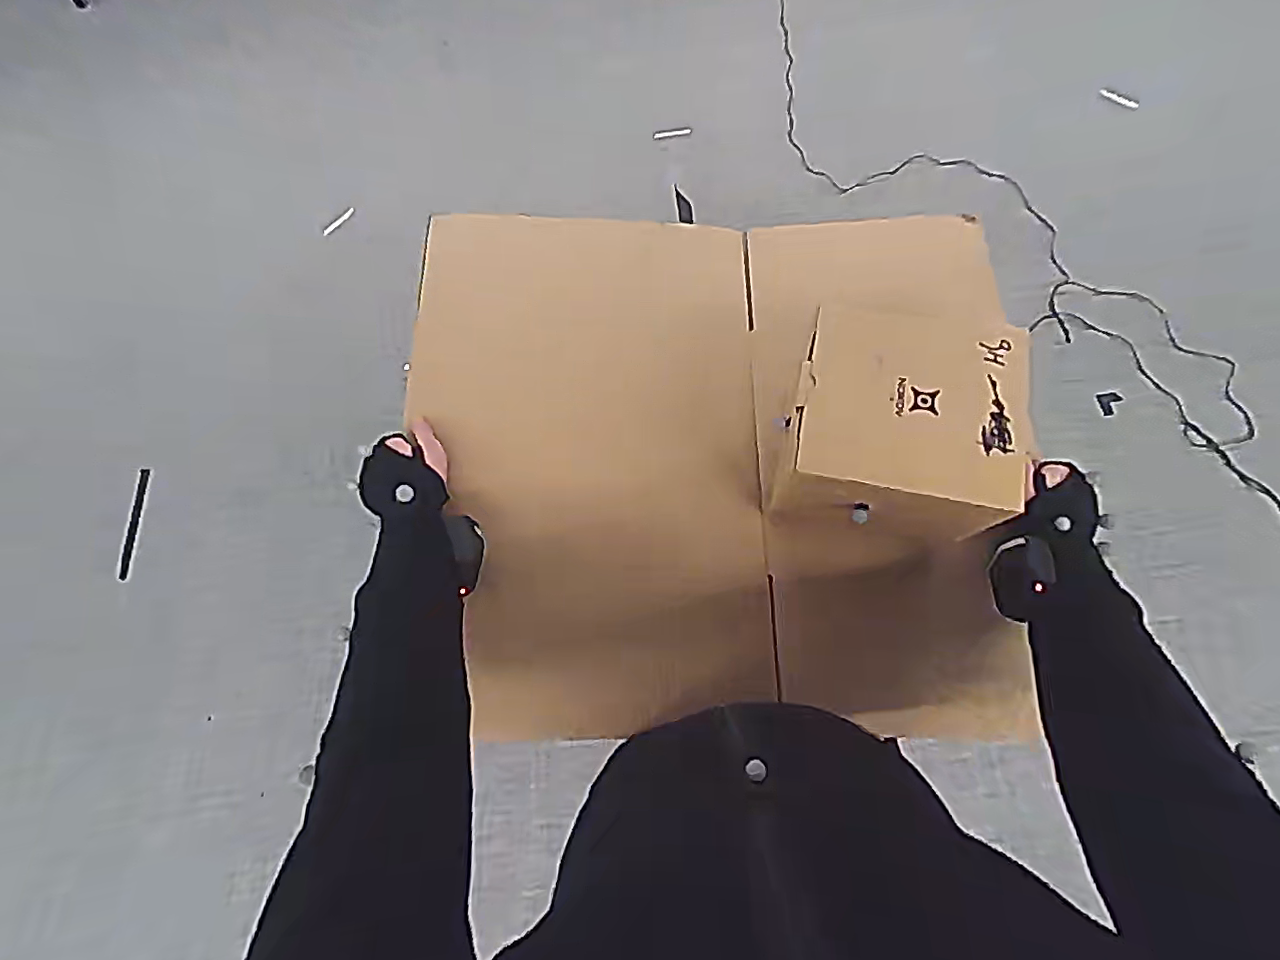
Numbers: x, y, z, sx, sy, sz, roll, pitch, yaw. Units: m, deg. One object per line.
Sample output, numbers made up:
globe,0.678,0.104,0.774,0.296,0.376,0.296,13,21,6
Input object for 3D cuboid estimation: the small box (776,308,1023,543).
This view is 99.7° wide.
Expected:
small box,0.238,-0.043,0.533,0.179,0.176,0.168,10,74,10
